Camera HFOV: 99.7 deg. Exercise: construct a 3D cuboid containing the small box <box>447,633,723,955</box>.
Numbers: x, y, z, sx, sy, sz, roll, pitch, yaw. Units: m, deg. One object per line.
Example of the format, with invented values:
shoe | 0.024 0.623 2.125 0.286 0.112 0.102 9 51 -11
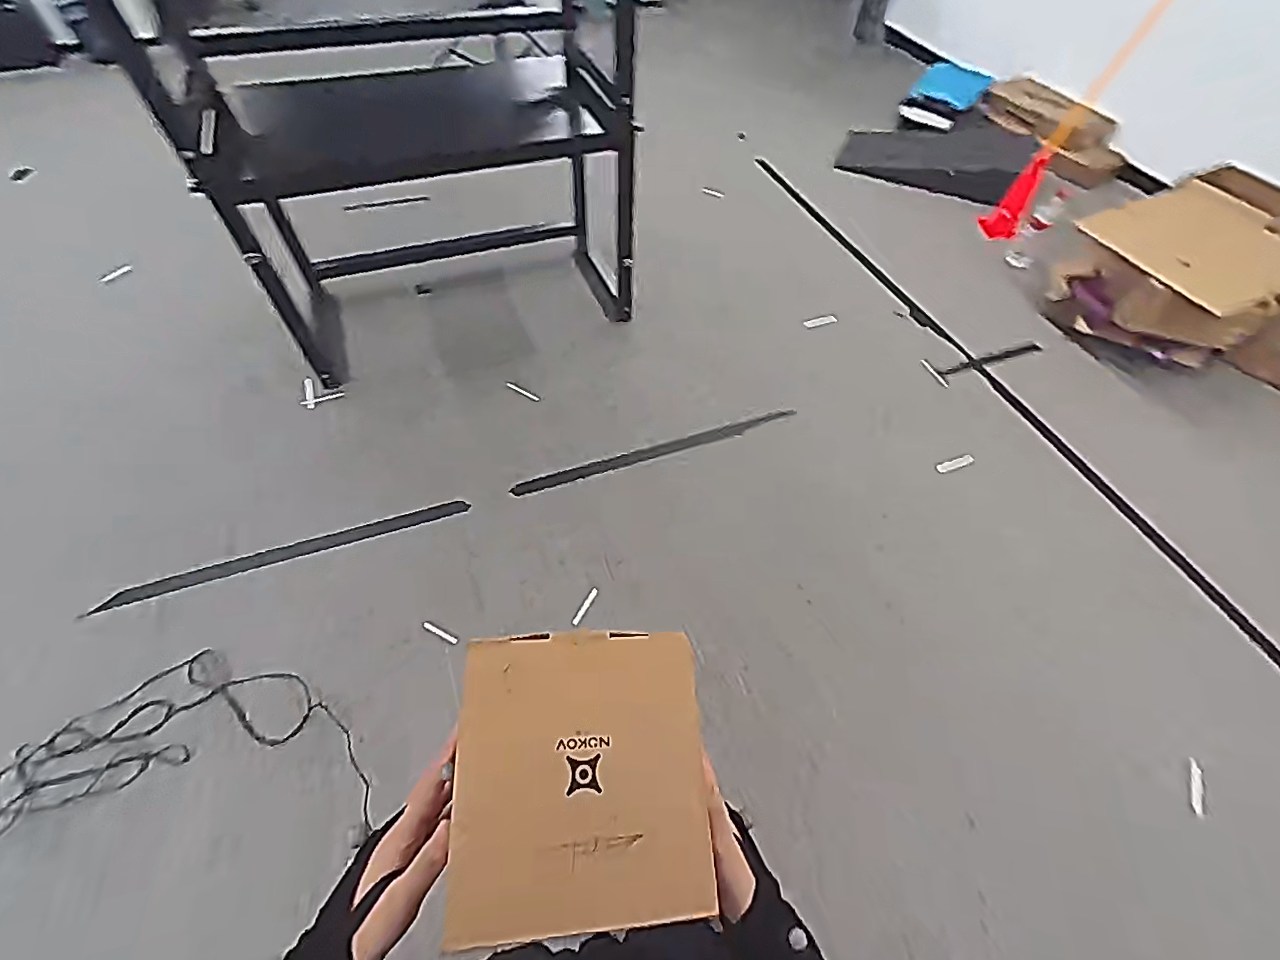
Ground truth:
small box | -0.049 0.230 0.424 0.168 0.176 0.179 1 61 -11
